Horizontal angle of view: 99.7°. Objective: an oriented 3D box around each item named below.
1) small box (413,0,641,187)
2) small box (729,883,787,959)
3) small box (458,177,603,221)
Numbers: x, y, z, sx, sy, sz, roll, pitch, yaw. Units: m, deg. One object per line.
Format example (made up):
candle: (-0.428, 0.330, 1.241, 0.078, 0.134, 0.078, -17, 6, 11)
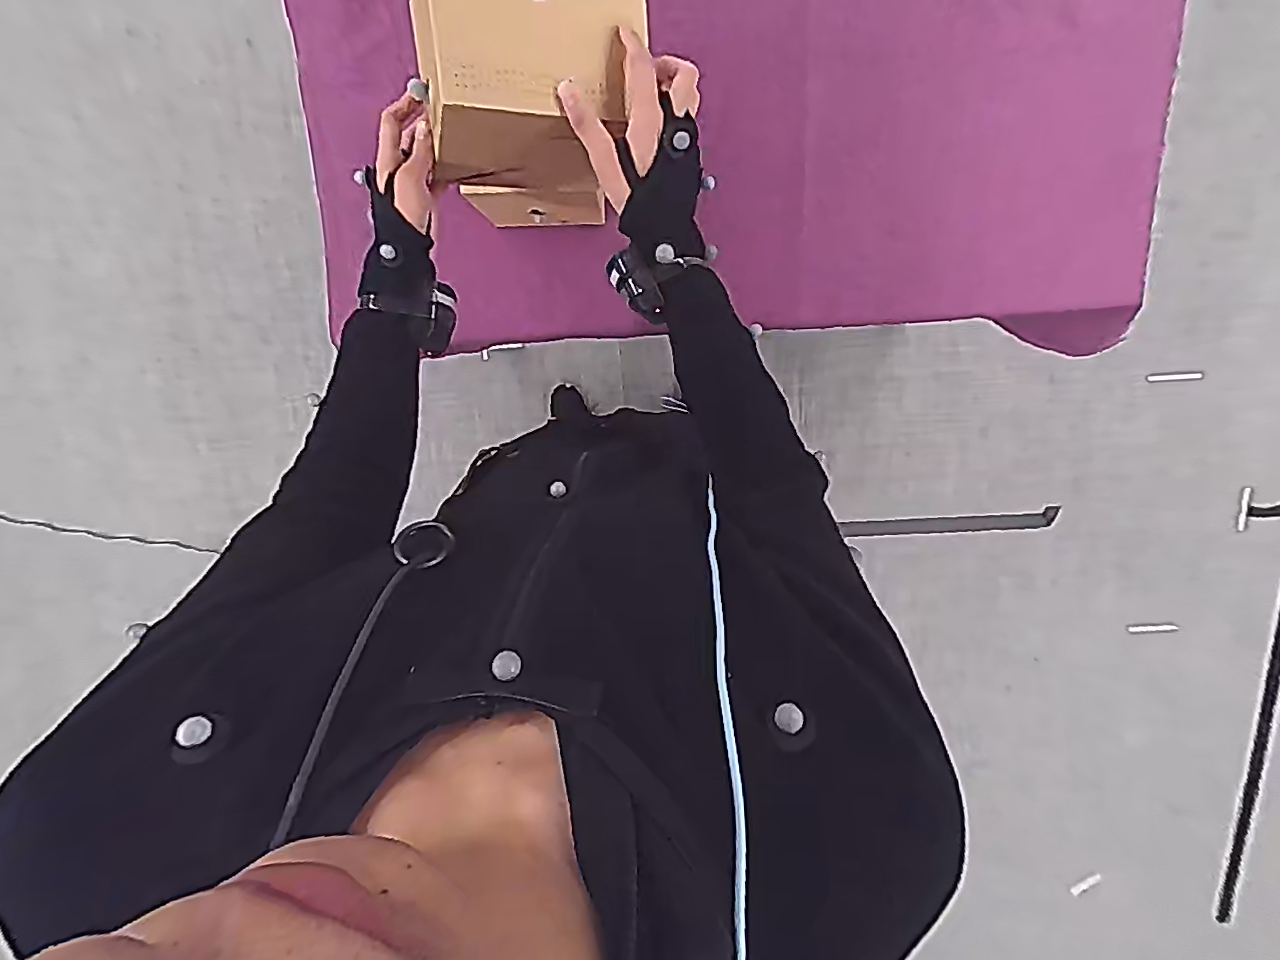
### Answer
small box: (-0.105, -0.383, 0.493, 0.179, 0.168, 0.176, -9, 101, -21)
small box: (0.414, 1.581, 1.923, 0.179, 0.176, 0.168, -5, 102, 0)
small box: (-0.136, -0.447, 0.704, 0.168, 0.176, 0.179, -1, 103, 0)
